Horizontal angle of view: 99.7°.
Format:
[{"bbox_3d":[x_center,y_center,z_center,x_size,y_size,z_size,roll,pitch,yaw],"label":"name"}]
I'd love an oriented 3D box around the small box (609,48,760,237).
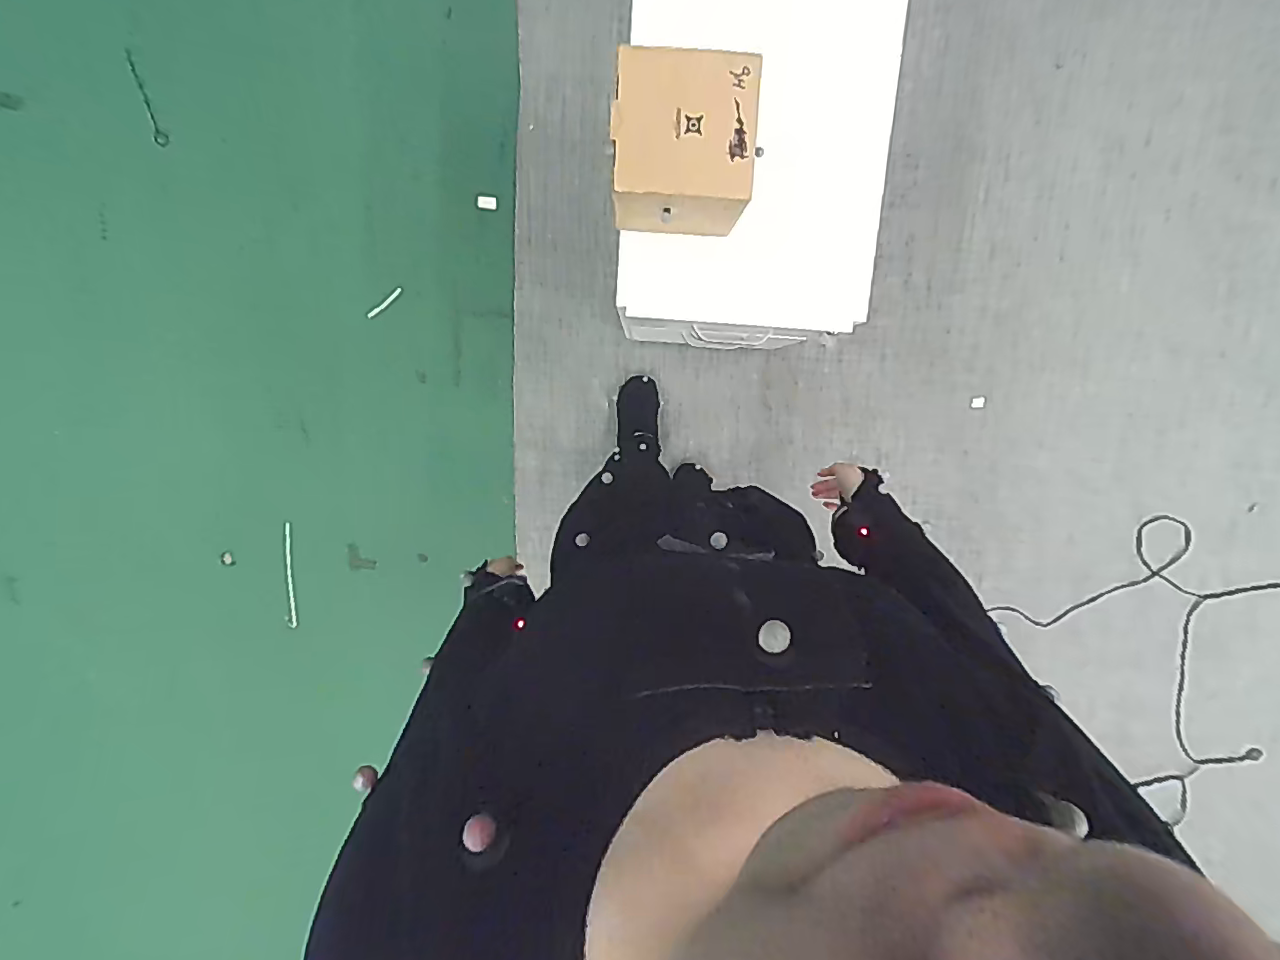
[{"bbox_3d":[0.052,-0.443,0.737,0.179,0.176,0.168,3,99,-2],"label":"small box"}]
